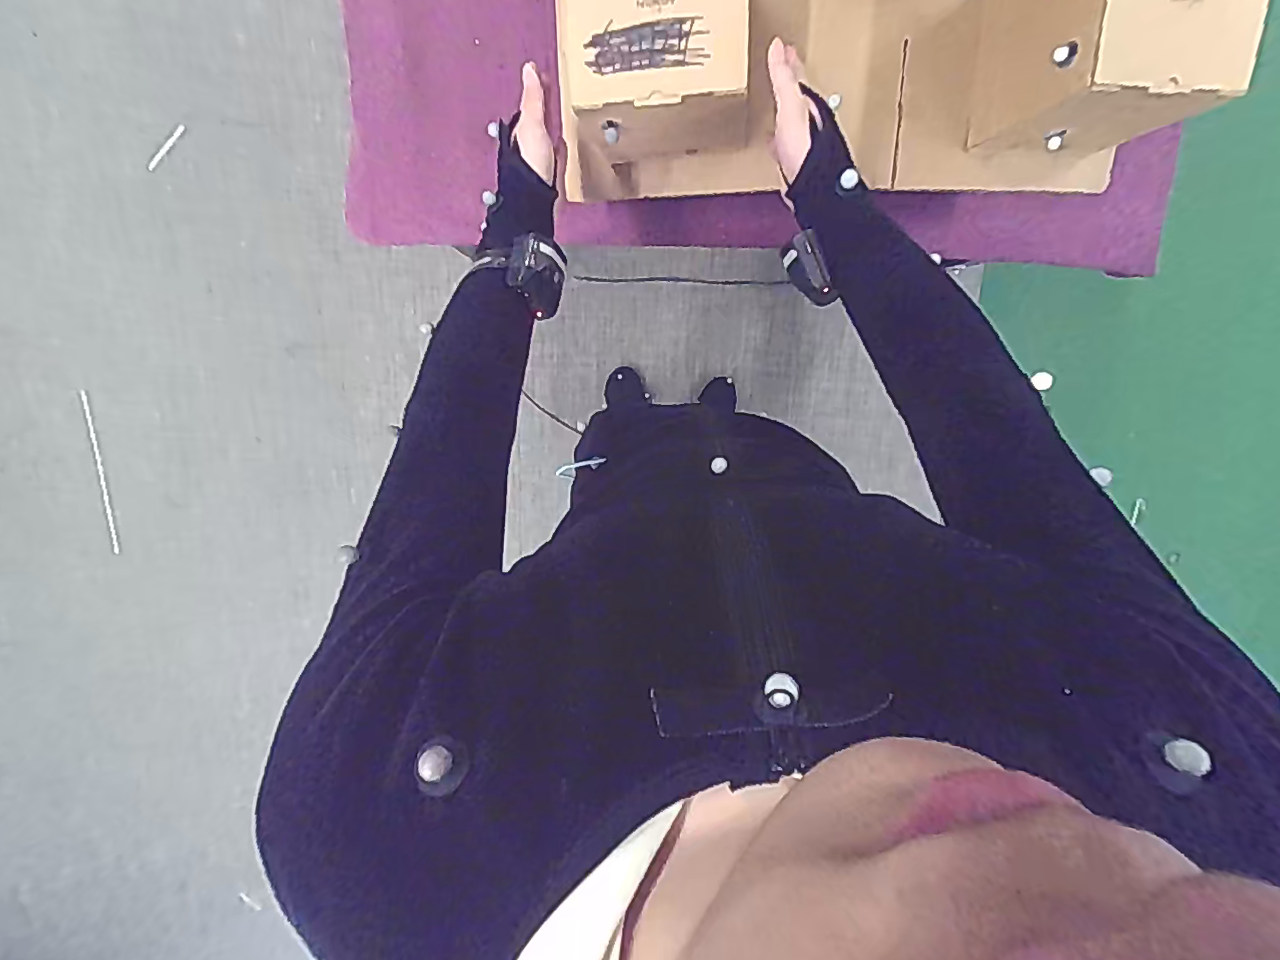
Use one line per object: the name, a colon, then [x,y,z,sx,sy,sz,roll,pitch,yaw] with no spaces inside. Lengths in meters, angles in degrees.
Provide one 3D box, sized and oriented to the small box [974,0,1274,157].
small box: [0.480,-0.459,0.554,0.168,0.176,0.179,-2,104,-6]
